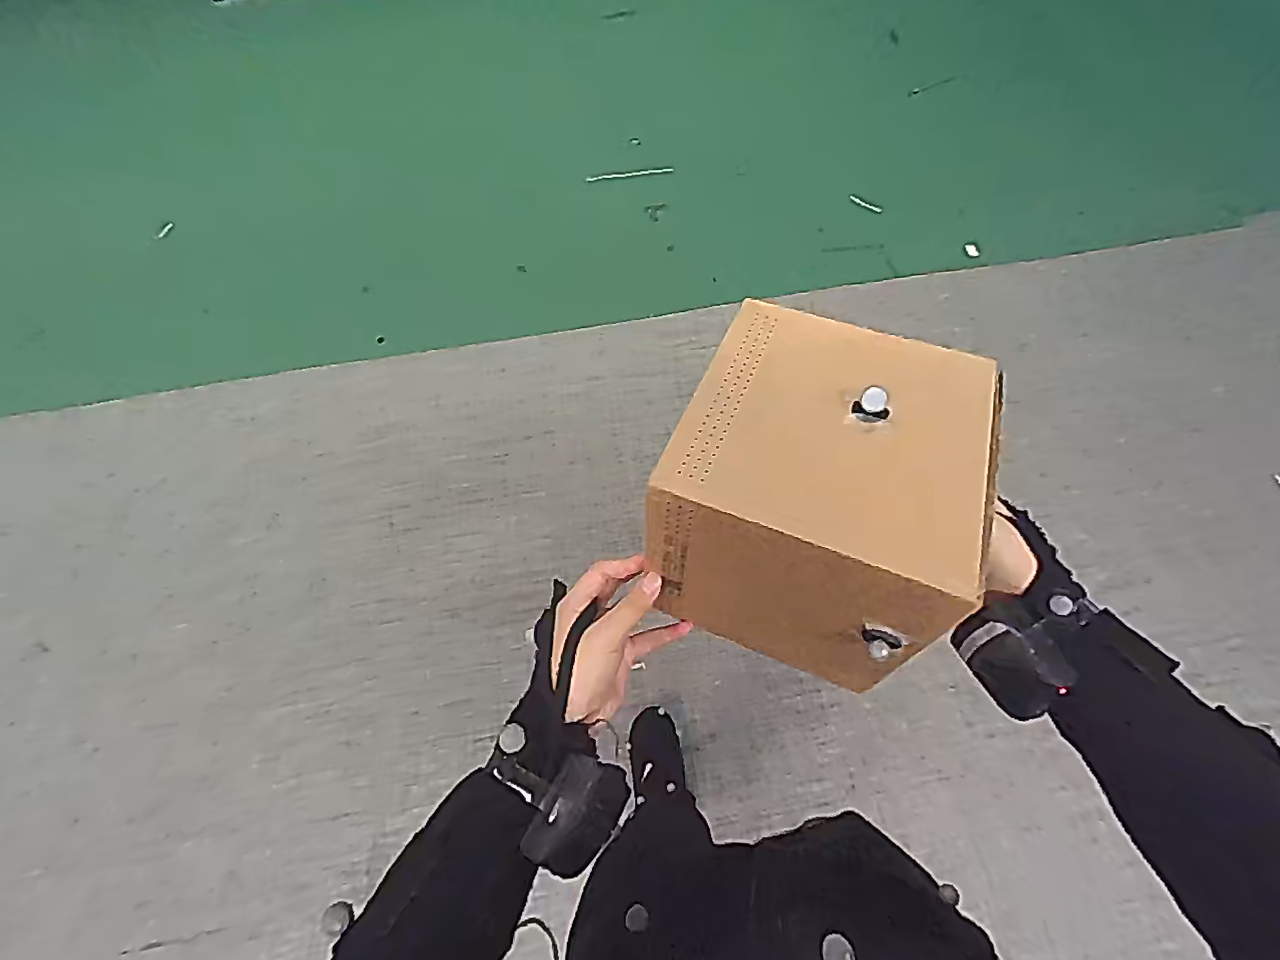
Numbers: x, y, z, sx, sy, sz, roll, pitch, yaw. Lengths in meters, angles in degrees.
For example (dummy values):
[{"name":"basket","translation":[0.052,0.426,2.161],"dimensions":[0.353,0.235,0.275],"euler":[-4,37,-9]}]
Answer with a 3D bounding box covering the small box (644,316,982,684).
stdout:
[{"name":"small box","translation":[0.111,0.010,0.385],"dimensions":[0.176,0.168,0.179],"euler":[18,57,14]}]
